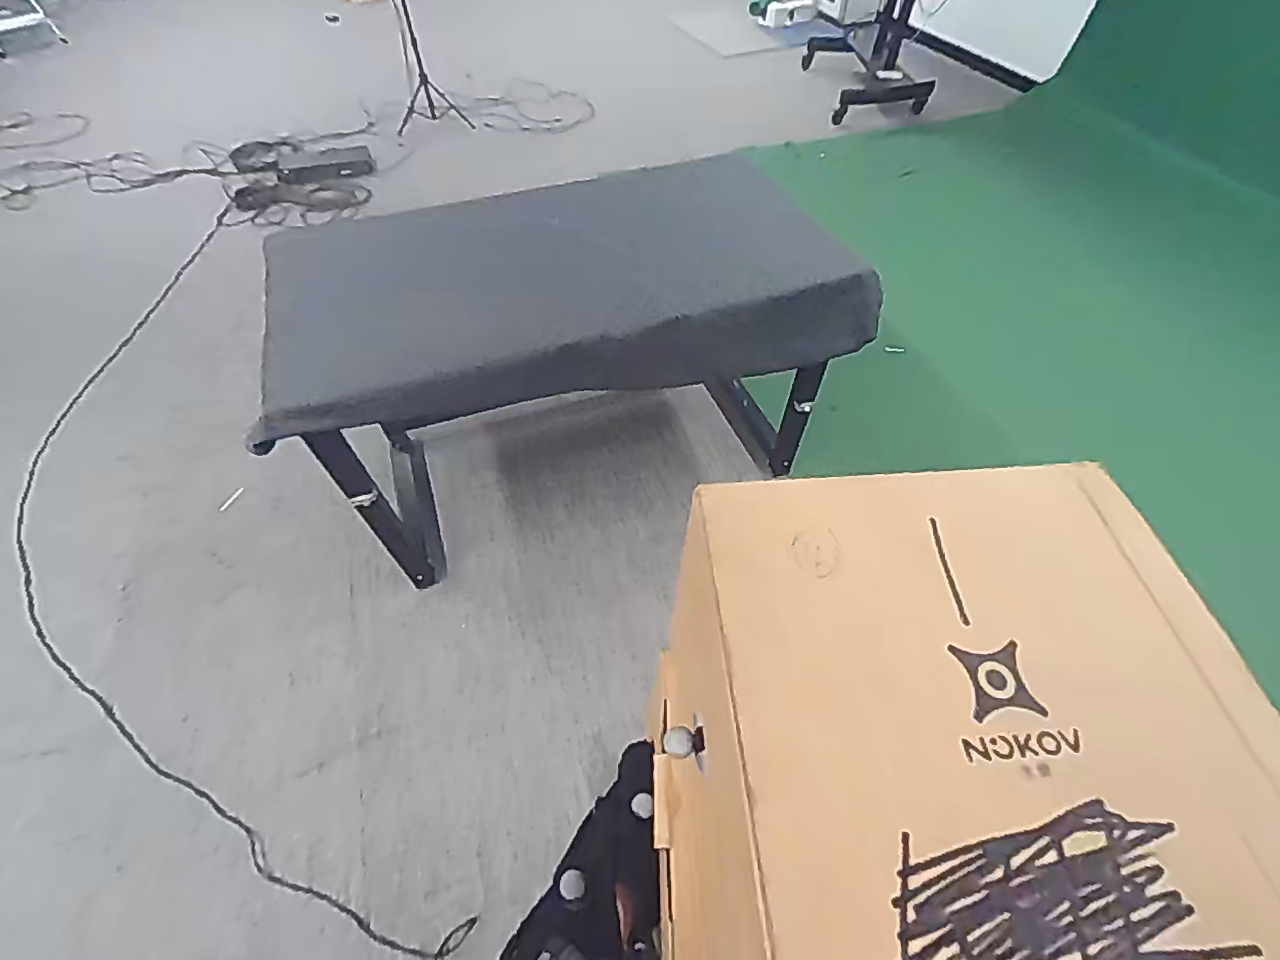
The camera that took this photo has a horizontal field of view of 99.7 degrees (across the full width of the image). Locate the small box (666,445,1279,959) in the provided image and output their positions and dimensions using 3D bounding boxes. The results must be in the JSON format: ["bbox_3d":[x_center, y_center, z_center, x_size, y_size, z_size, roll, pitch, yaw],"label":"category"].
[{"bbox_3d":[0.102,0.107,0.240,0.168,0.176,0.179,-3,55,-3],"label":"small box"}]

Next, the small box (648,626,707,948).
[{"bbox_3d":[0.095,0.208,0.372,0.179,0.176,0.168,-1,53,-3],"label":"small box"}]
